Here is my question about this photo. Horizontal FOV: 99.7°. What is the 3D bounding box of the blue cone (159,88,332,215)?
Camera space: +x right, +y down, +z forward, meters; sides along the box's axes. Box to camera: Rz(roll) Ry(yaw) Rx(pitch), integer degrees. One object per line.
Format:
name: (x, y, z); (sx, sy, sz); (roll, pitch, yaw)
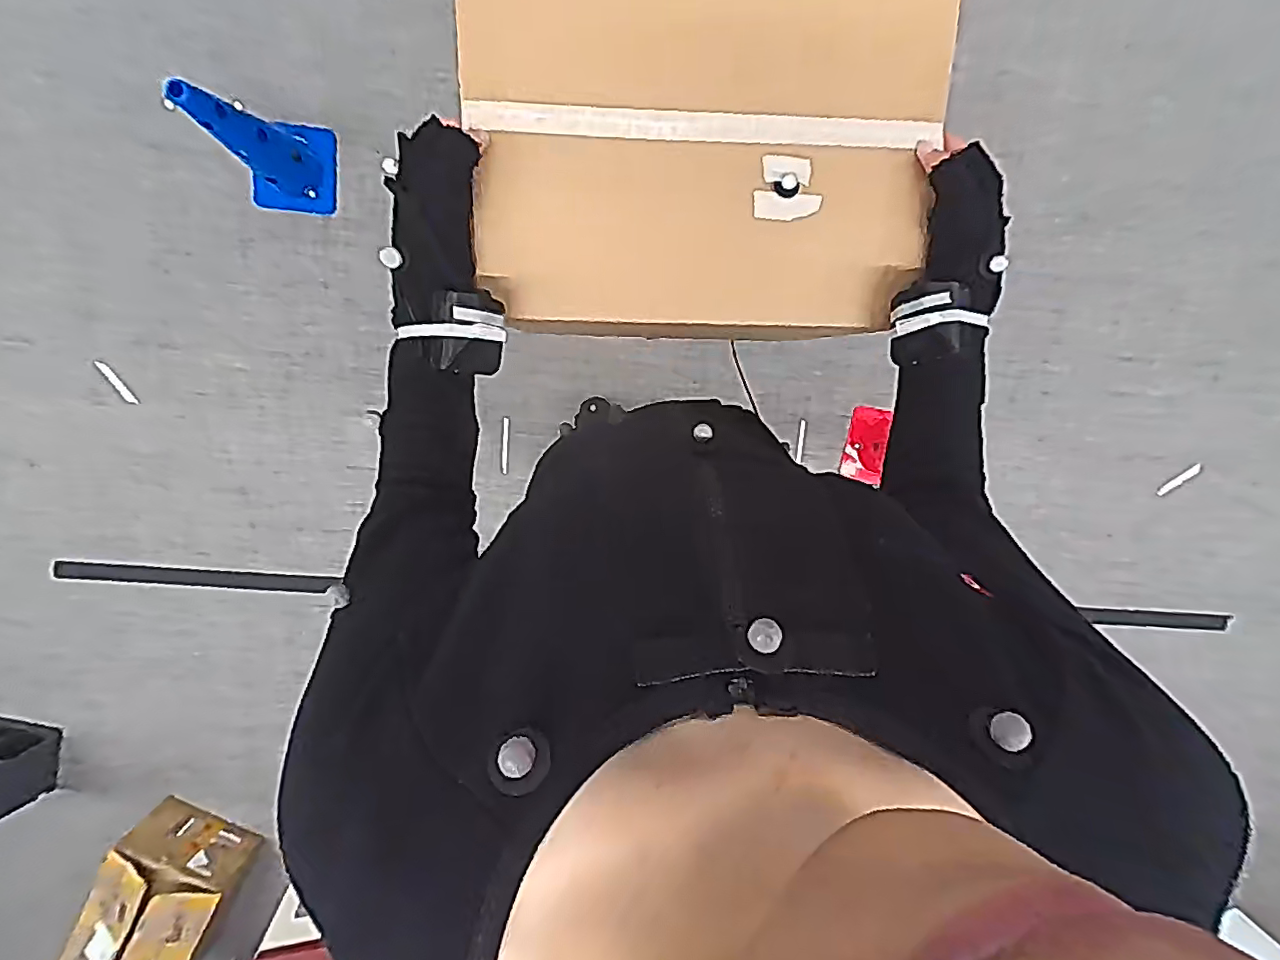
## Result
blue cone: (-0.859, -0.734, 1.179); (0.192, 0.380, 0.193); (7, 99, -1)

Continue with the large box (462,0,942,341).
large box: (0.043, -0.324, 0.605); (0.408, 0.320, 0.320); (0, 102, -5)

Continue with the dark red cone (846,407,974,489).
dark red cone: (0.663, -0.056, 1.286); (0.201, 0.394, 0.202); (10, 99, -2)
